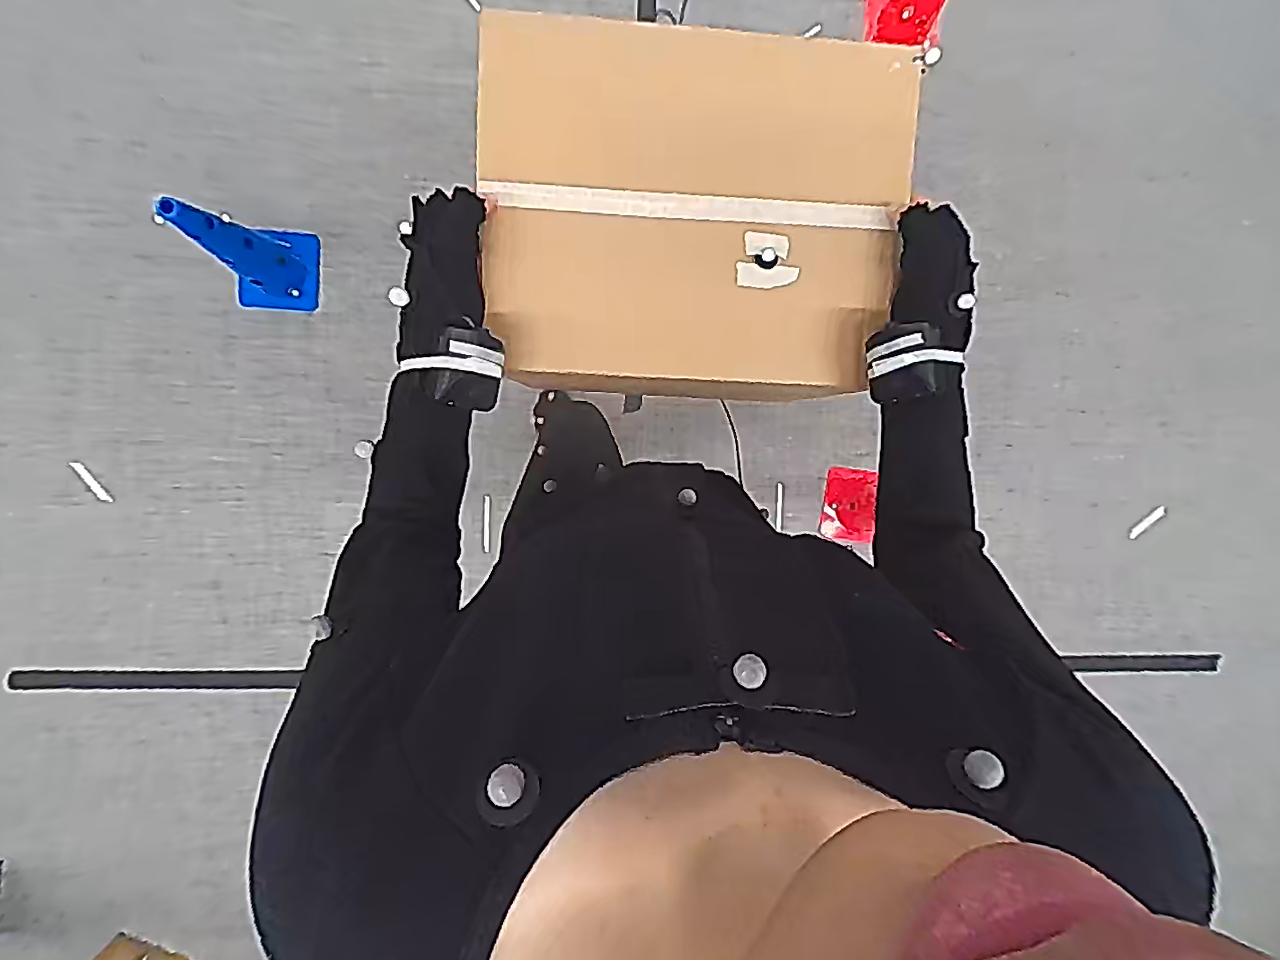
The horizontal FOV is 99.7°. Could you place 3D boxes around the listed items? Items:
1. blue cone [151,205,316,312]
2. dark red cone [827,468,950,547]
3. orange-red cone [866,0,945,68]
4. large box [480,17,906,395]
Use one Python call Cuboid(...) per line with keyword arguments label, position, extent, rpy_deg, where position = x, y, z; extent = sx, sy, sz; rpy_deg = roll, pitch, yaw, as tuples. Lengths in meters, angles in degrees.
Cuboid(label="blue cone", position=(-0.935, -0.528, 1.241), extent=(0.192, 0.380, 0.193), rpy_deg=(4, 92, -2))
Cuboid(label="dark red cone", position=(0.619, 0.082, 1.307), extent=(0.201, 0.394, 0.202), rpy_deg=(7, 92, -2))
Cuboid(label="orange-red cone", position=(0.717, -1.215, 1.288), extent=(0.198, 0.360, 0.199), rpy_deg=(-1, 91, -4))
Cuboid(label="large box", position=(0.039, -0.273, 0.657), extent=(0.408, 0.320, 0.320), rpy_deg=(2, 96, -4))
